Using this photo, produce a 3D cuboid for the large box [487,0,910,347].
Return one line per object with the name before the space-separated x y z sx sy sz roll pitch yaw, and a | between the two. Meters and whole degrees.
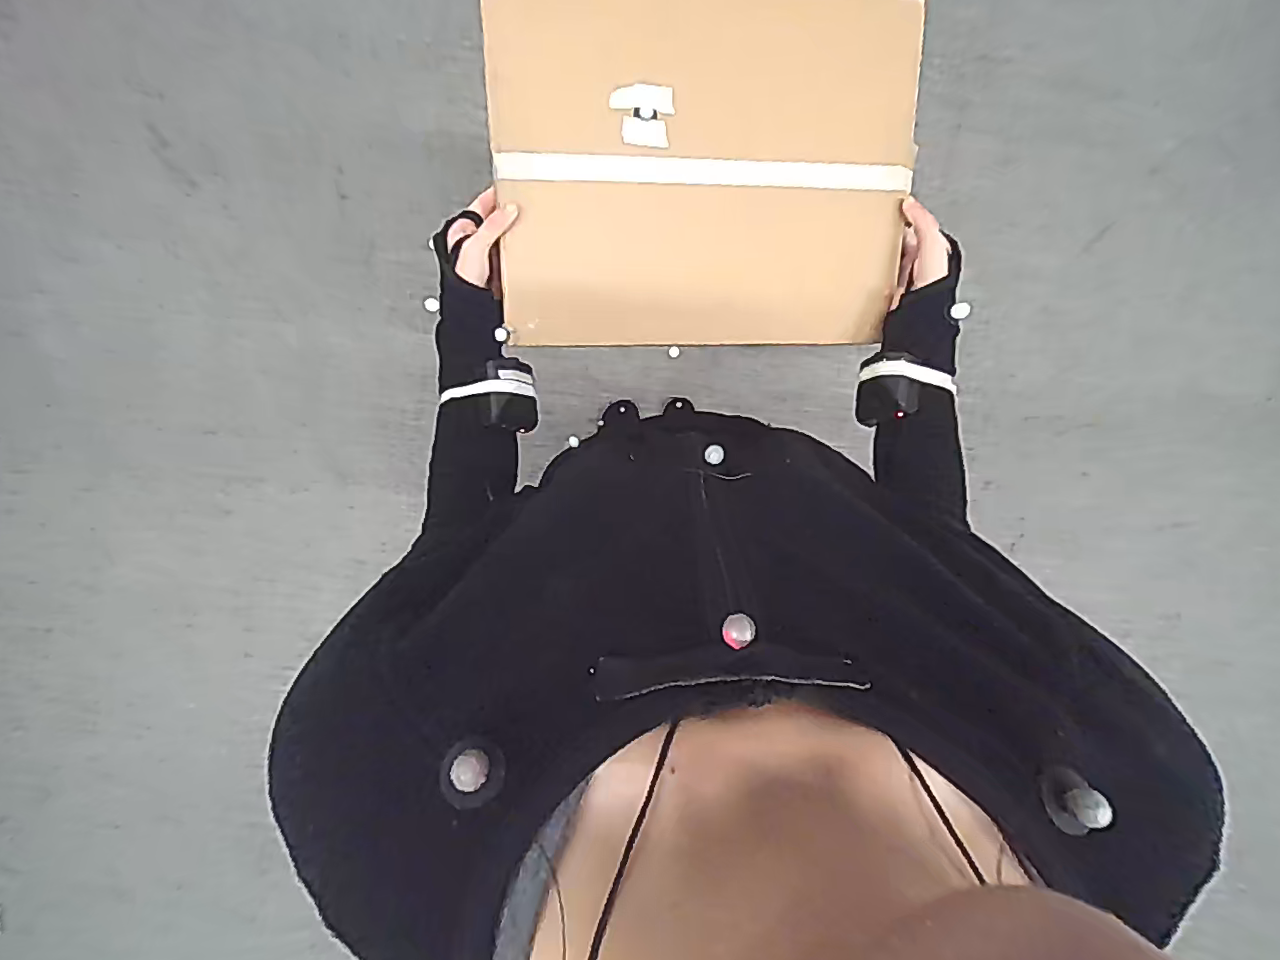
large box | 0.045 -0.333 0.673 0.408 0.320 0.320 -2 105 -8
